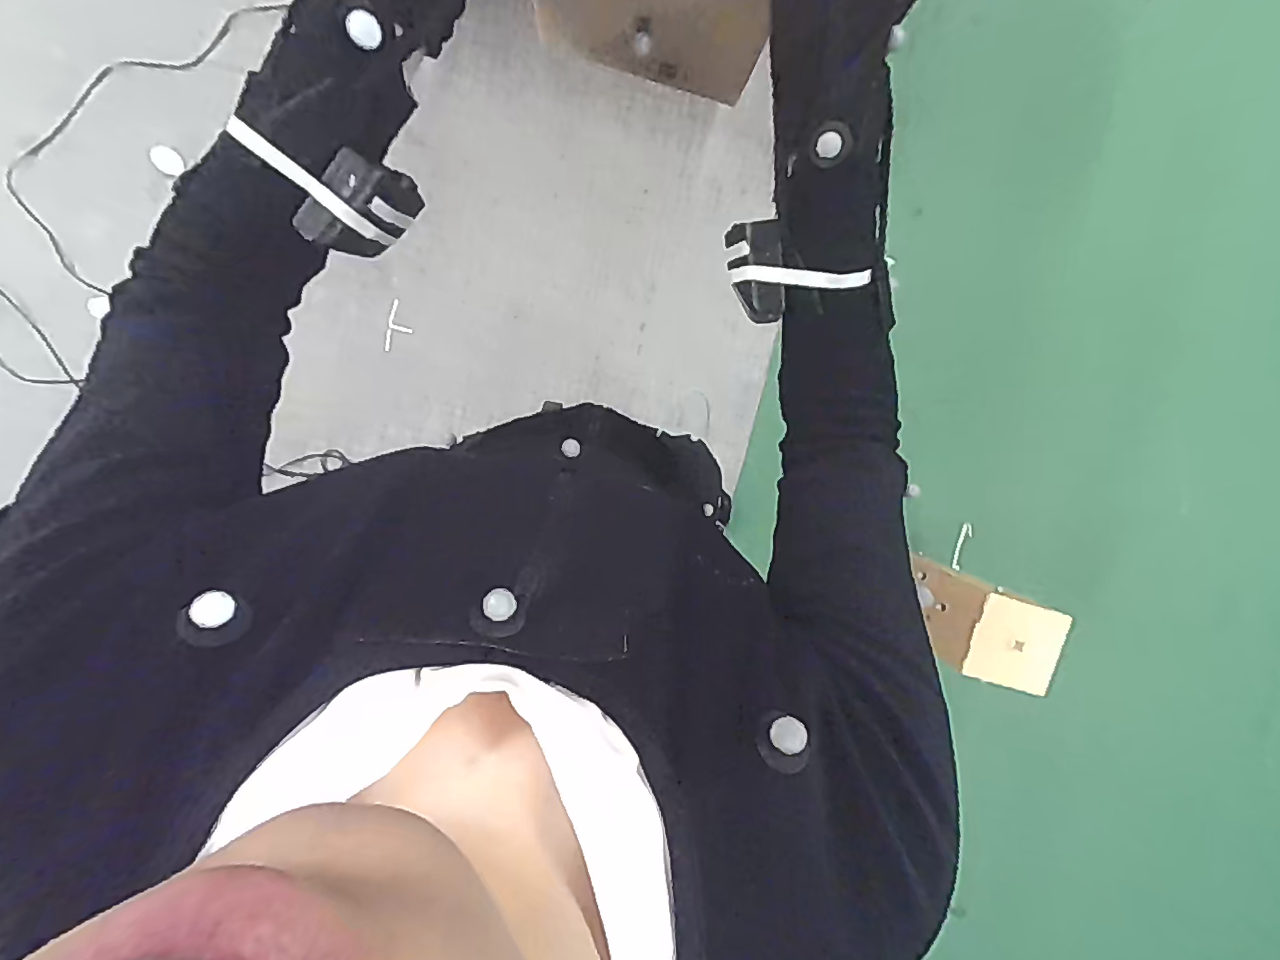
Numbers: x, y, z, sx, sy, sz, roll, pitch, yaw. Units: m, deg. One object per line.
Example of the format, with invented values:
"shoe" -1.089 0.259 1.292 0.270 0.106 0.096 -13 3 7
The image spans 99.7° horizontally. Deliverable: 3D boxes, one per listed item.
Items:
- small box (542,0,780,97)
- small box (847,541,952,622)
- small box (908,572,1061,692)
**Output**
"small box" 0.026 -0.400 0.344 0.168 0.176 0.179 14 96 -6
"small box" 0.681 0.270 1.442 0.179 0.176 0.168 15 94 -2
"small box" 0.699 0.303 1.116 0.179 0.176 0.168 16 95 -4
